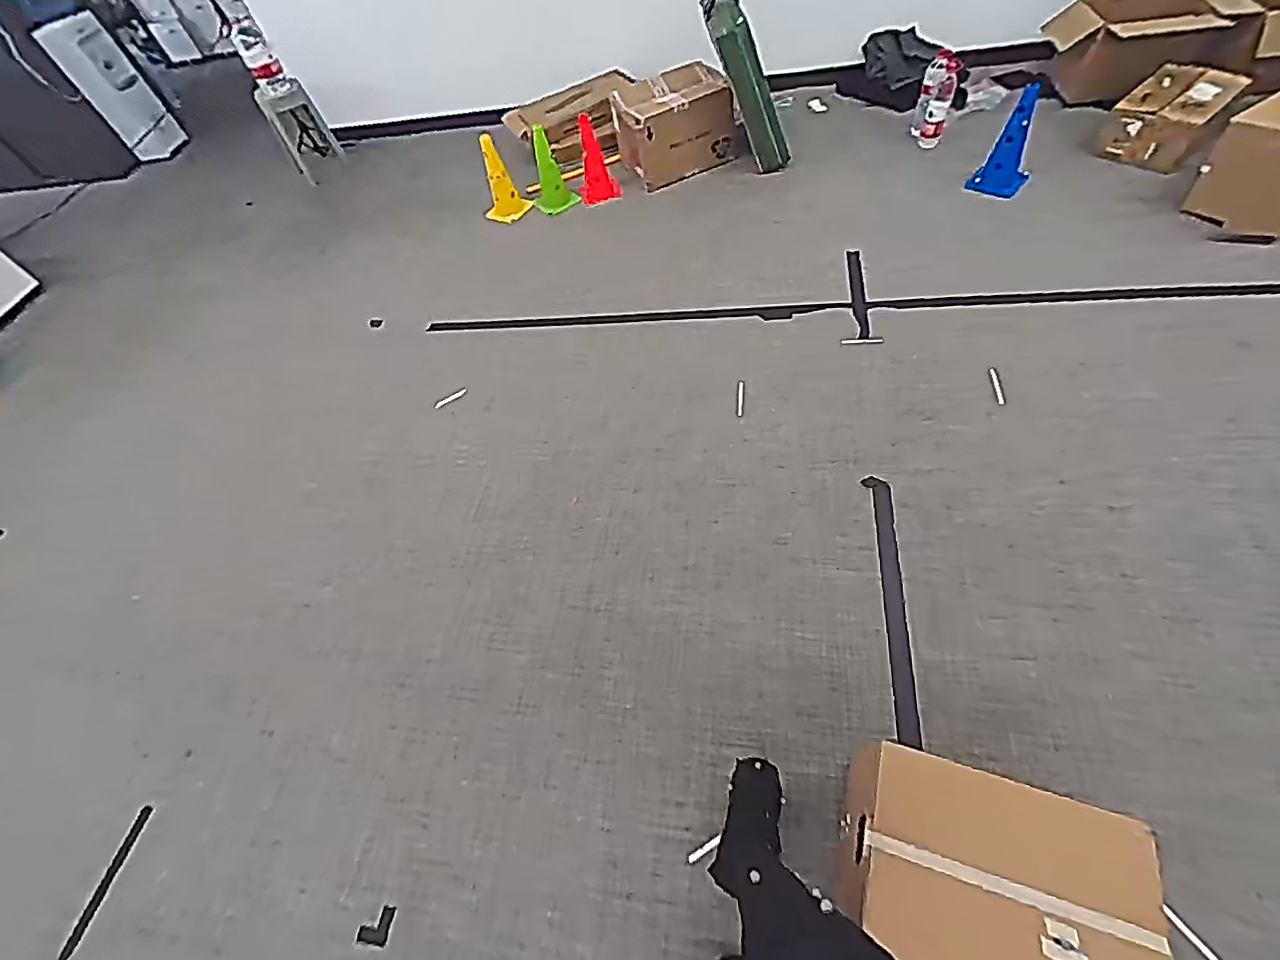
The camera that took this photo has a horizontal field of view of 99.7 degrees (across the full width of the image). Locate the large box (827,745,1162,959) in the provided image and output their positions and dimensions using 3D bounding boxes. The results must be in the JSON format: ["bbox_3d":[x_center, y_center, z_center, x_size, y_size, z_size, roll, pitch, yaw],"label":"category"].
[{"bbox_3d":[0.574,0.710,0.948,0.408,0.320,0.320,12,59,17],"label":"large box"}]
